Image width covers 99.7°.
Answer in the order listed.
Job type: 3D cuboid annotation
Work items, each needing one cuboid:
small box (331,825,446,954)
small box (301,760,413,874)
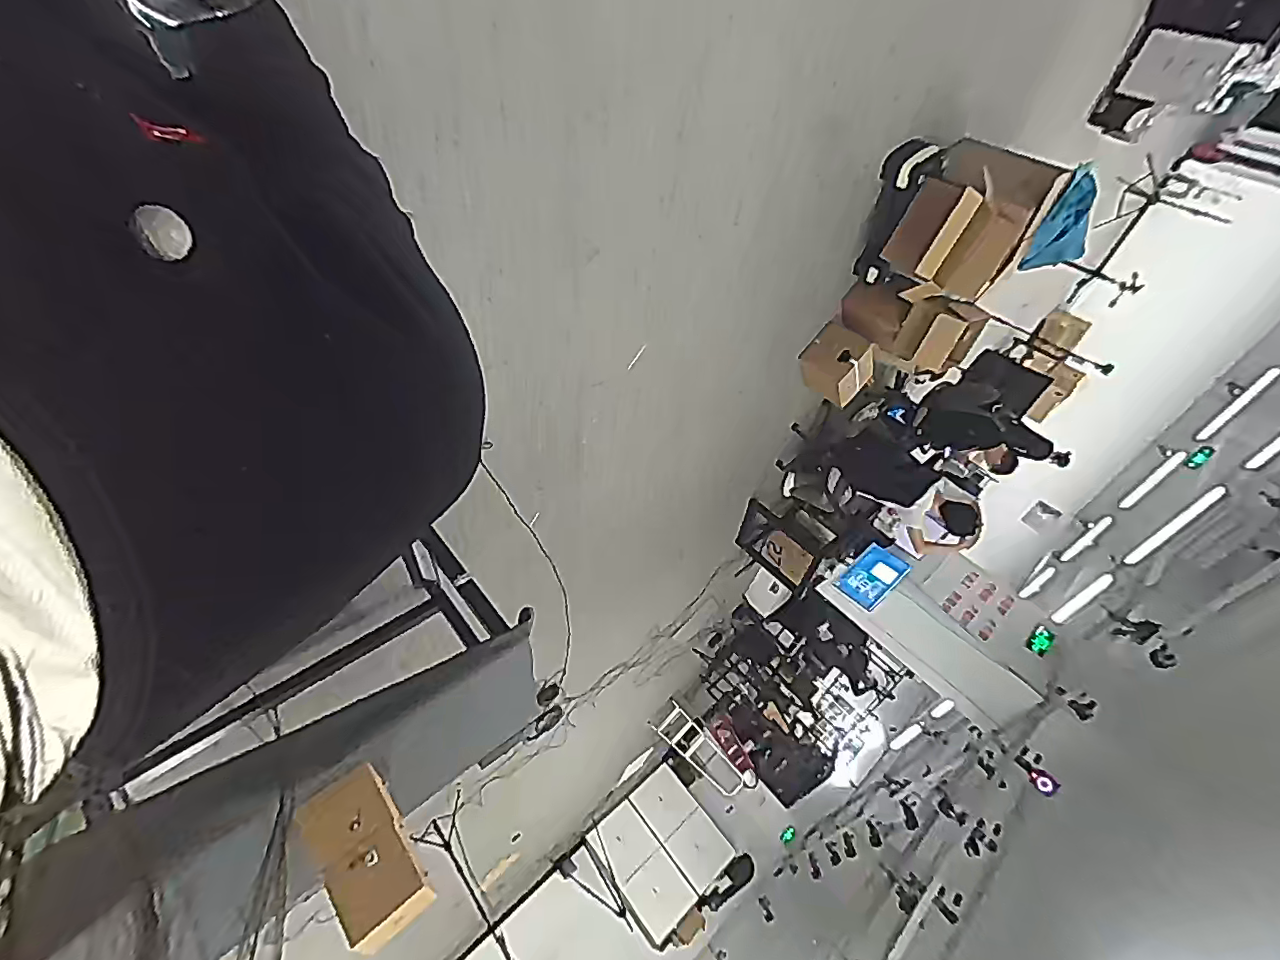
[{"bbox_3d":[-0.578,0.942,1.252,0.168,0.176,0.179,-32,147,-31],"label":"small box"},{"bbox_3d":[-0.694,0.833,1.332,0.179,0.176,0.168,-29,146,-31],"label":"small box"}]
